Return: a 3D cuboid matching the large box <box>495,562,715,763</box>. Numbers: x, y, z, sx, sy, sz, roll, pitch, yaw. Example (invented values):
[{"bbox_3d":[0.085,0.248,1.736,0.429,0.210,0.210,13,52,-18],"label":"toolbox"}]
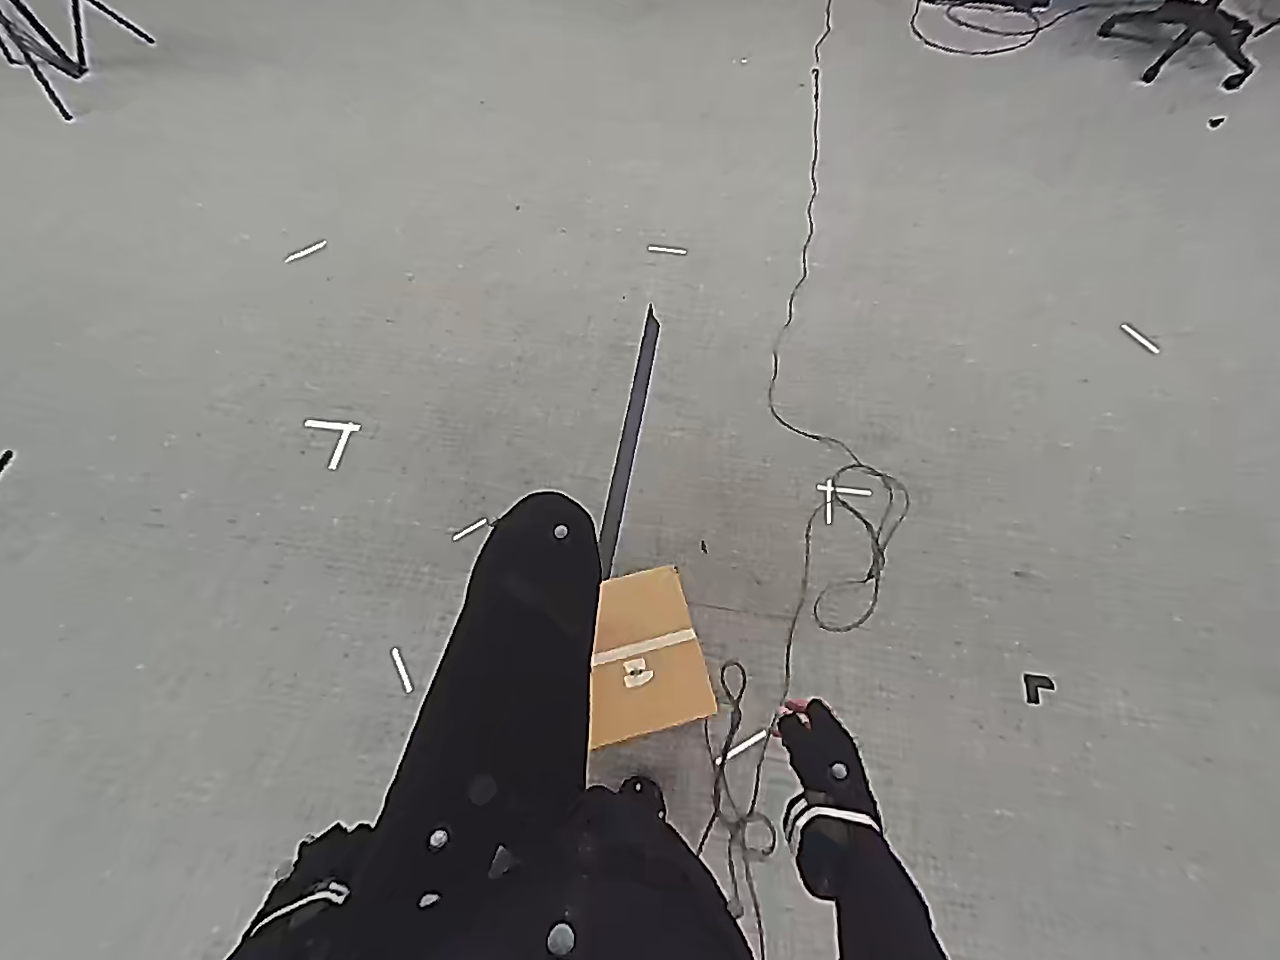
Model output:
[{"bbox_3d":[-0.080,0.425,1.236,0.408,0.320,0.320,-13,65,-6],"label":"large box"}]
